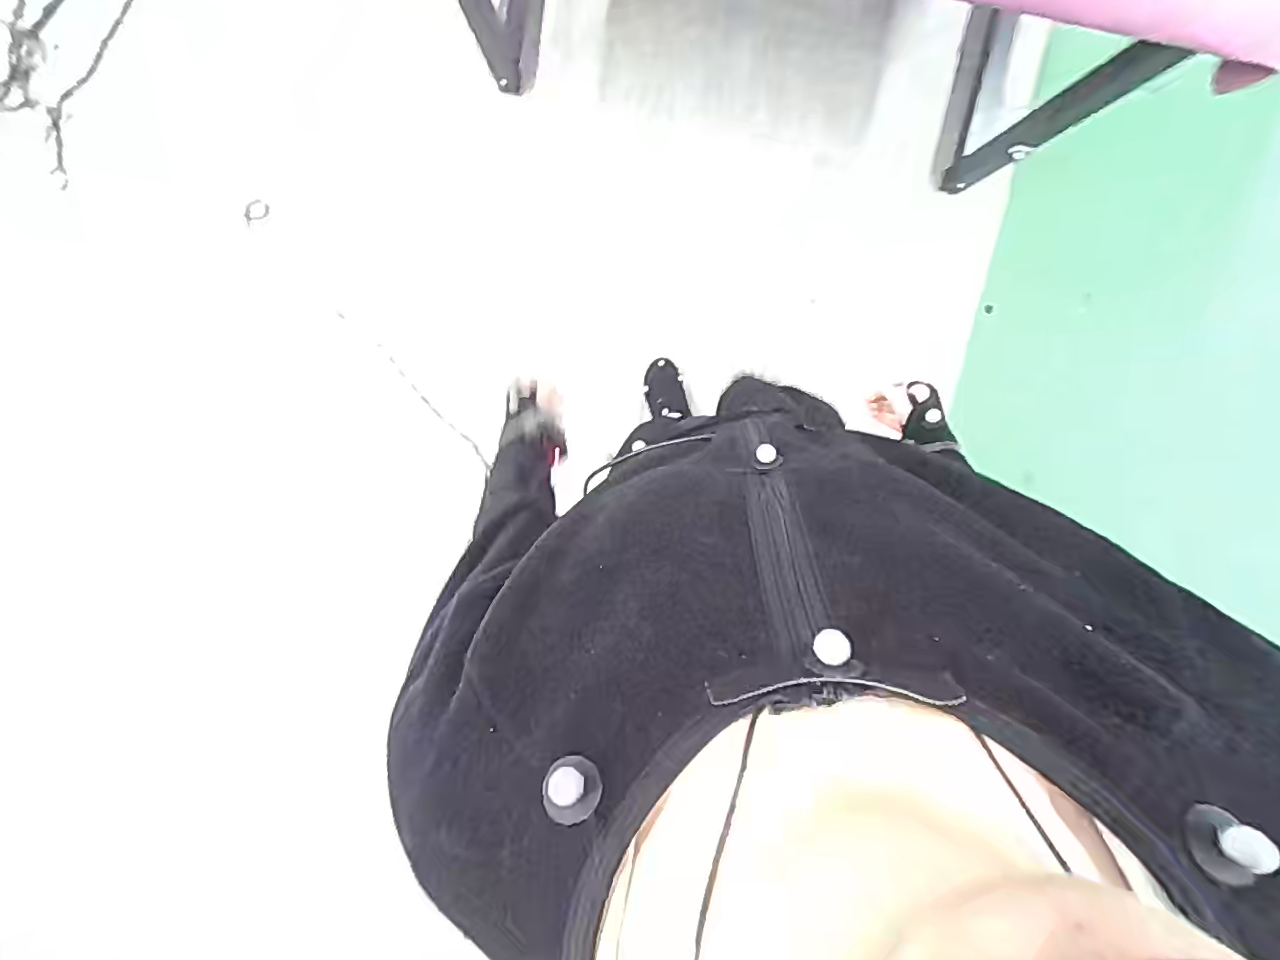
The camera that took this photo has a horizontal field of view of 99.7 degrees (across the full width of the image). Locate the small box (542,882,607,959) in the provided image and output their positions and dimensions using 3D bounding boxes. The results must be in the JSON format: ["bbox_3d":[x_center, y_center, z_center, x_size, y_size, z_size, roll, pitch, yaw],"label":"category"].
[{"bbox_3d":[-0.195,1.385,1.671,0.179,0.176,0.168,-4,101,2],"label":"small box"}]
